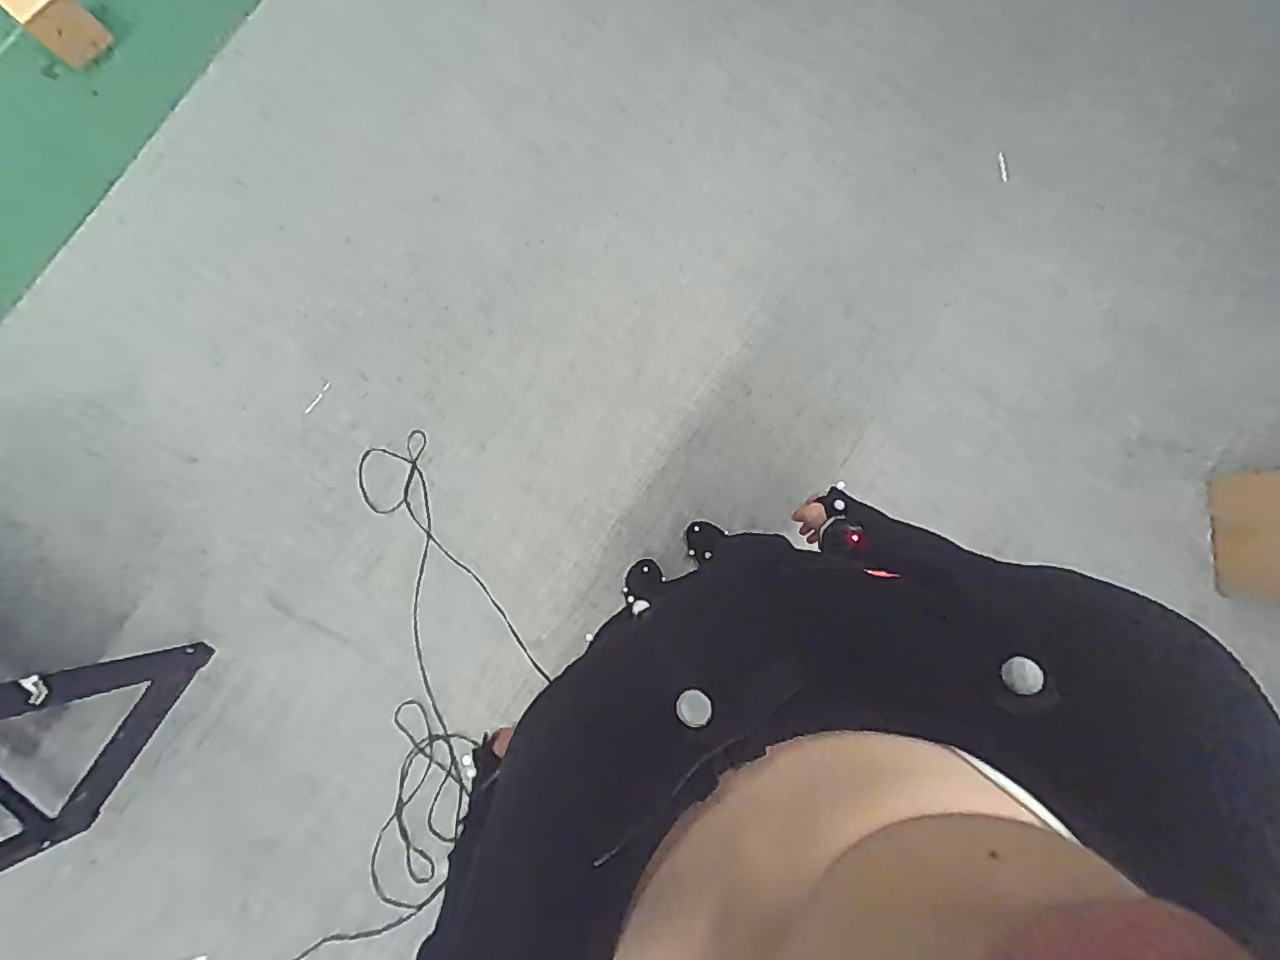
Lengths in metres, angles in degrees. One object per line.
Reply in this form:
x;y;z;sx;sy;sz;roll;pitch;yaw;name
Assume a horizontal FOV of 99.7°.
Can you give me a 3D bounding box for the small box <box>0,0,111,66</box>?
-1.849;-1.460;1.702;0.179;0.176;0.168;42;86;6;small box
